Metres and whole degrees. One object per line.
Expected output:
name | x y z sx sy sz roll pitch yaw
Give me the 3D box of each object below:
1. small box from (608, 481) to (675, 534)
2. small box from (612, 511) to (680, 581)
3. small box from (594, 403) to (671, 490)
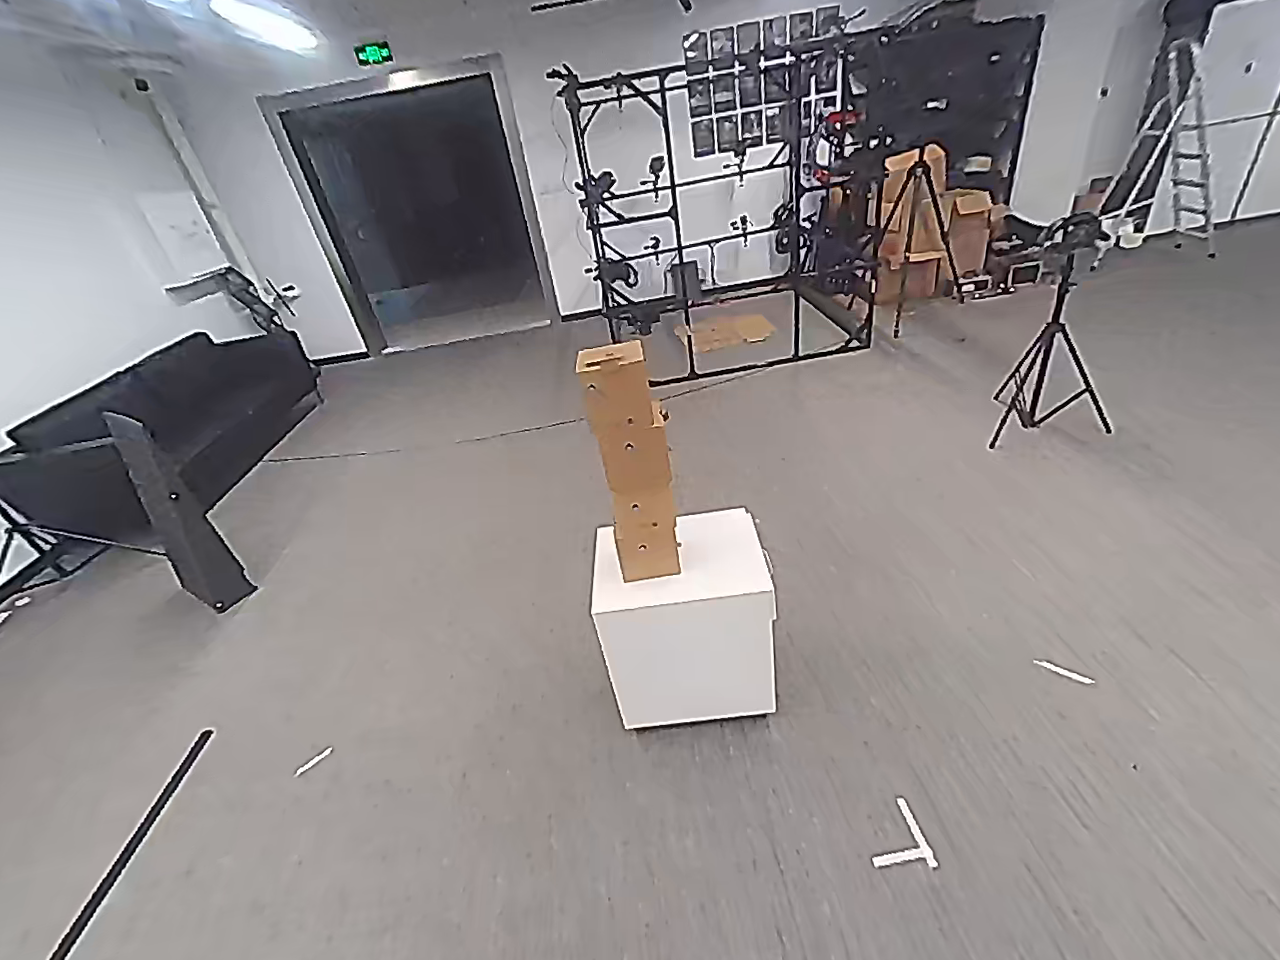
small box | 0.004 0.042 1.557 0.168 0.176 0.179 -9 31 2
small box | 0.016 0.187 1.631 0.179 0.176 0.168 -9 32 1
small box | -0.020 -0.087 1.455 0.179 0.176 0.168 -9 32 2
